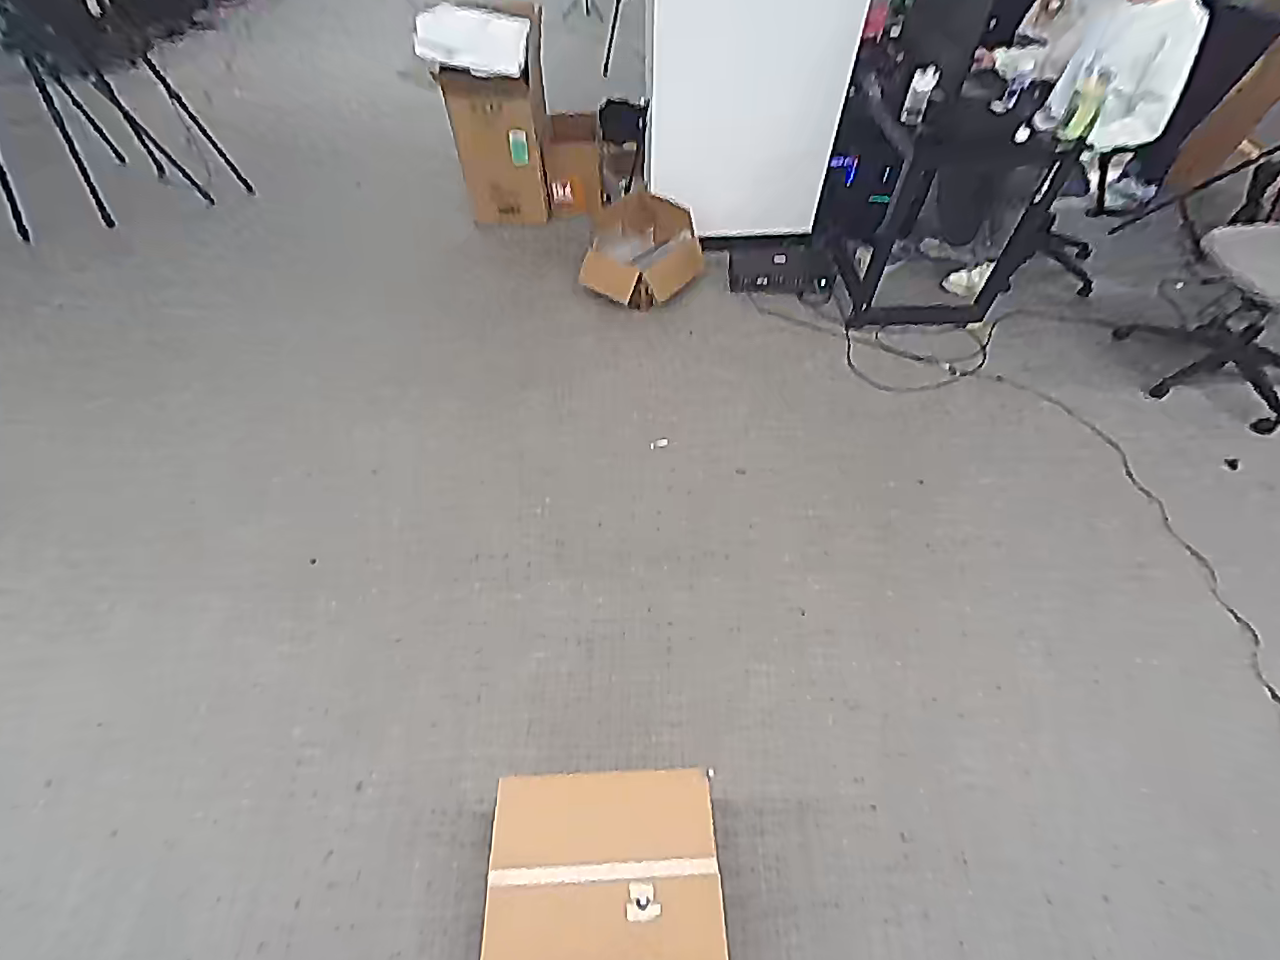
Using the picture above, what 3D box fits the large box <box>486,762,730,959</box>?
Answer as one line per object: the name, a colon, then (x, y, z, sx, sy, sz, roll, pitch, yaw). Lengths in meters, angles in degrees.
large box: (-0.062, 0.773, 1.072, 0.408, 0.320, 0.320, -1, 52, -2)
